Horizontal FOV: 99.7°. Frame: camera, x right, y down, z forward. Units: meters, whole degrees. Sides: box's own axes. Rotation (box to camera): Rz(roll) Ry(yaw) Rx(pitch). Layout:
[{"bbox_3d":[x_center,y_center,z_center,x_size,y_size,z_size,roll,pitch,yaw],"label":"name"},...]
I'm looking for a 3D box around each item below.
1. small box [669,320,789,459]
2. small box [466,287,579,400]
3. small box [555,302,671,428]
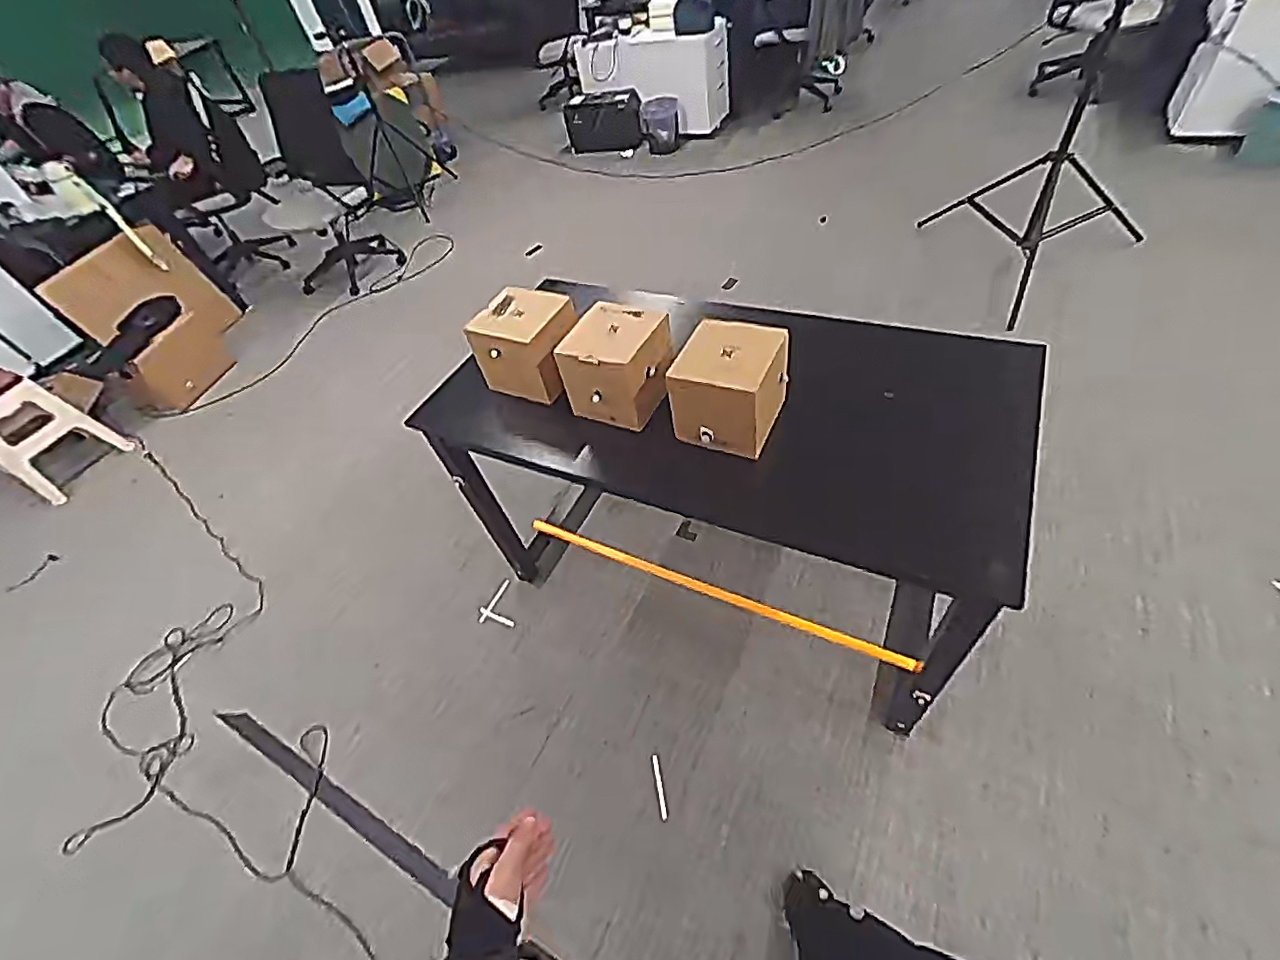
[{"bbox_3d":[0.169,-0.169,1.008,0.168,0.176,0.179,15,56,24],"label":"small box"},{"bbox_3d":[-0.243,-0.300,1.196,0.179,0.176,0.168,17,56,23],"label":"small box"},{"bbox_3d":[-0.042,-0.232,1.100,0.168,0.176,0.179,17,56,22],"label":"small box"}]
